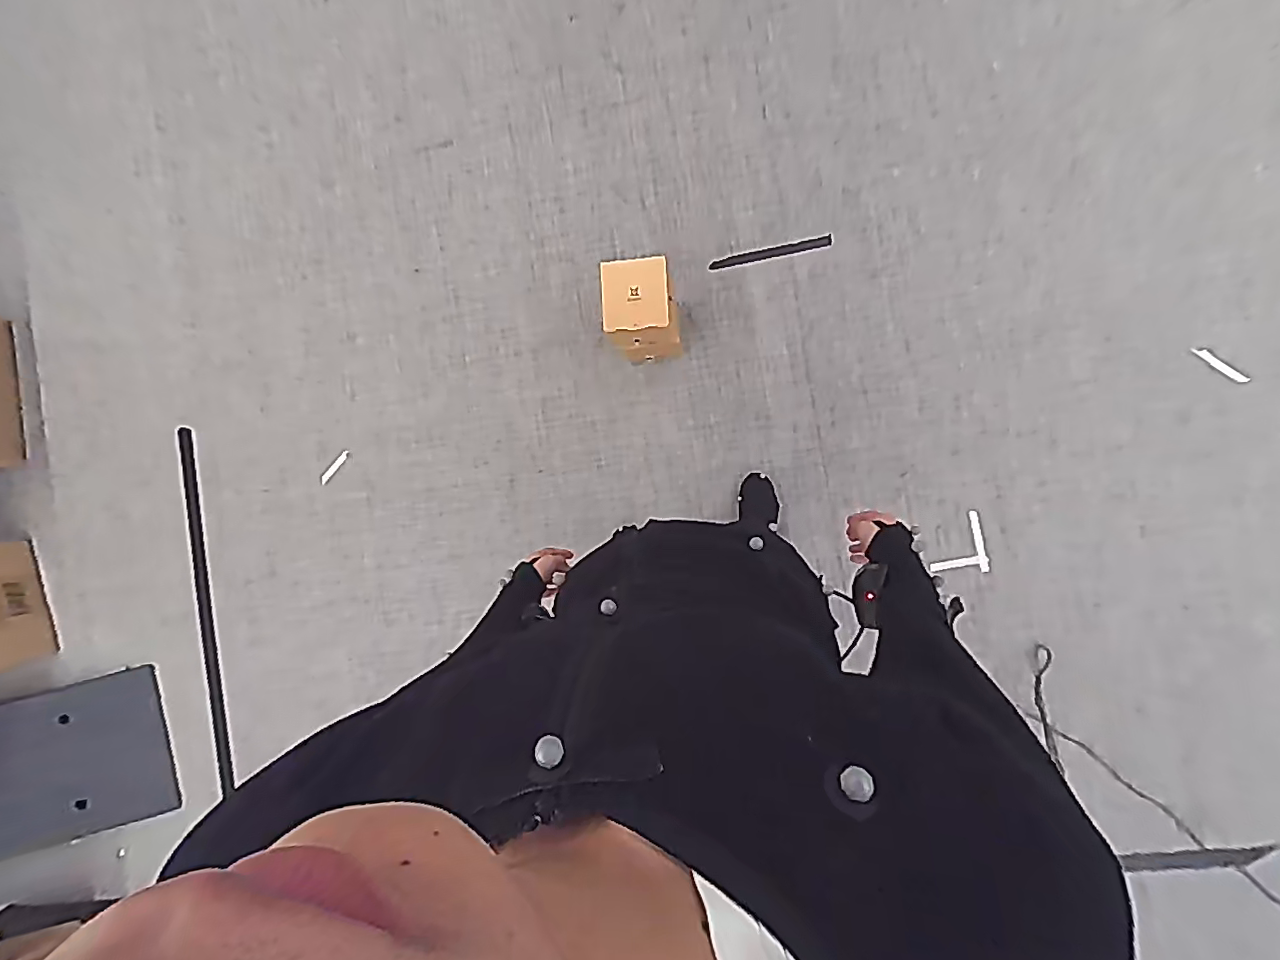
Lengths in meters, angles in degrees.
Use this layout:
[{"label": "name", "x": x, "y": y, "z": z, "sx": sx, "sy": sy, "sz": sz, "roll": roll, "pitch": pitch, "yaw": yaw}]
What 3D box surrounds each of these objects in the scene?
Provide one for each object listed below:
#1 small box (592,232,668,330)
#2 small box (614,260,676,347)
[{"label": "small box", "x": -0.020, "y": -0.485, "z": 1.339, "sx": 0.168, "sy": 0.176, "sz": 0.179, "roll": -4, "pitch": 91, "yaw": 7}, {"label": "small box", "x": 0.010, "y": -0.483, "z": 1.499, "sx": 0.168, "sy": 0.176, "sz": 0.179, "roll": -6, "pitch": 89, "yaw": 7}]
